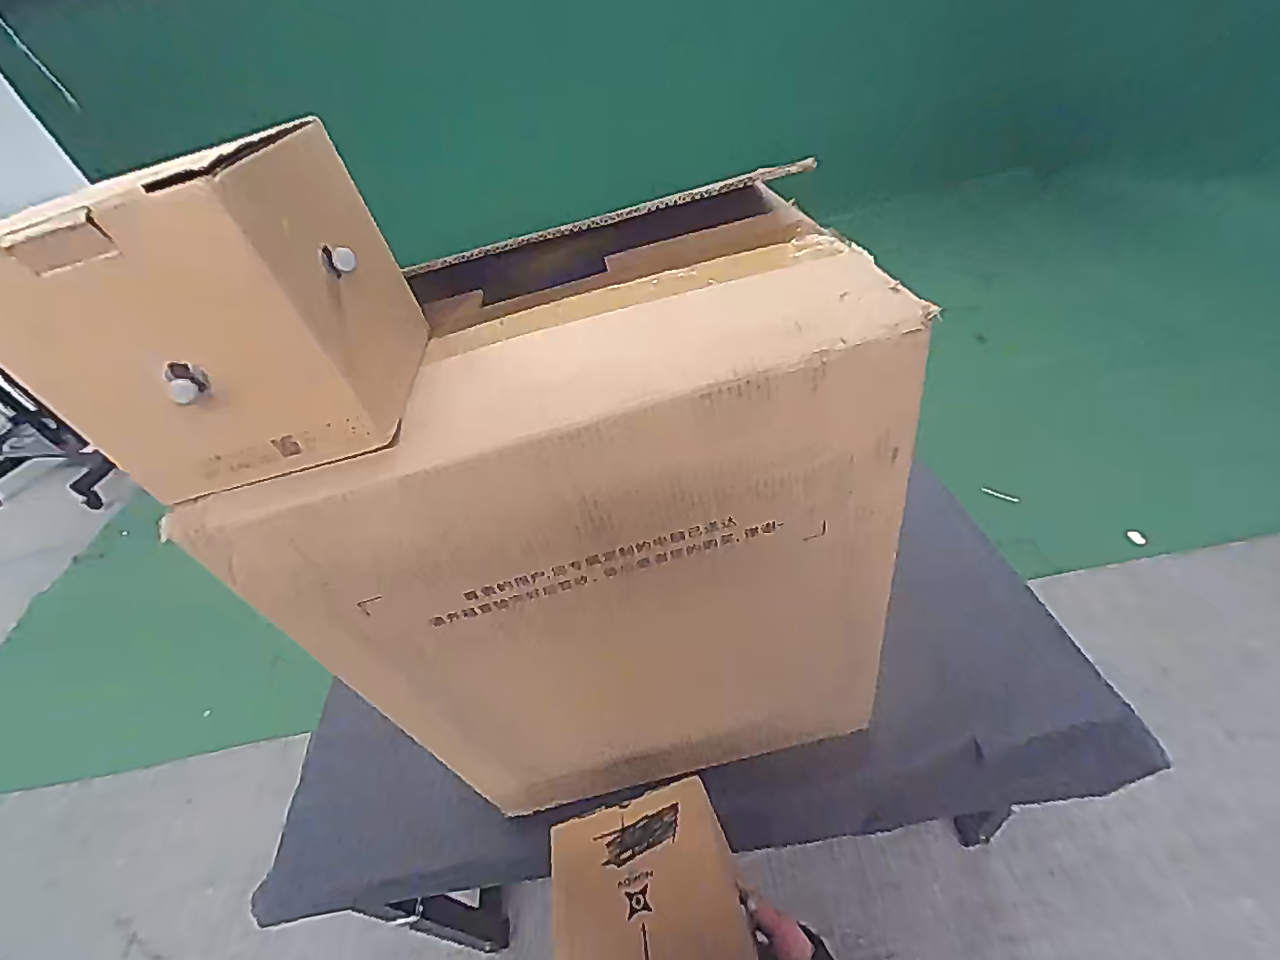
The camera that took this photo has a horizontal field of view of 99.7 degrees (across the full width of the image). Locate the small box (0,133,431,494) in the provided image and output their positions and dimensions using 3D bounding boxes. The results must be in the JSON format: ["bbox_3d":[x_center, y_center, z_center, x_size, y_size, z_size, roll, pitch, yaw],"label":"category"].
[{"bbox_3d":[-0.267,-0.109,0.376,0.168,0.176,0.179,-15,42,2],"label":"small box"}]
